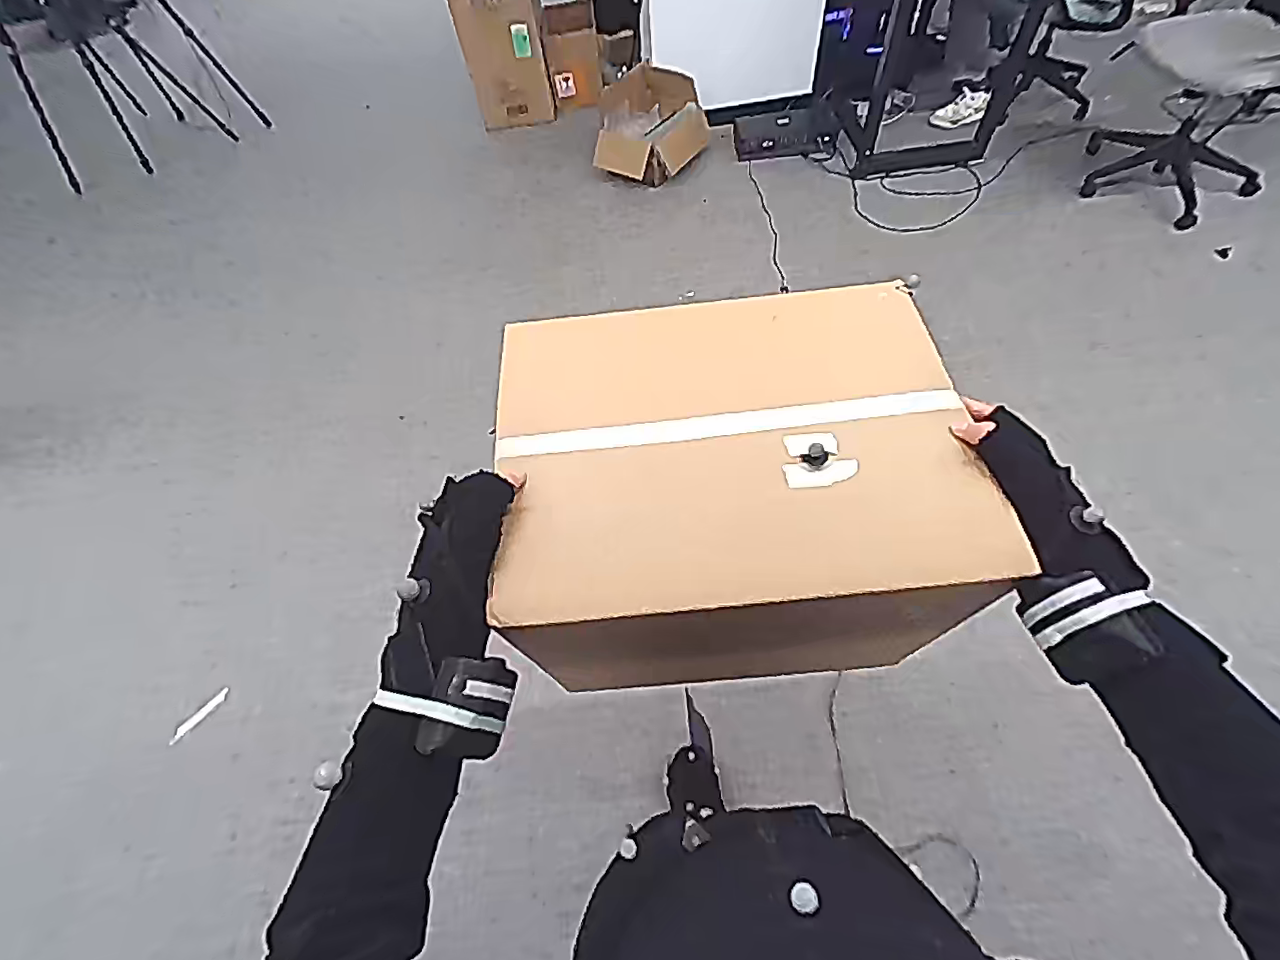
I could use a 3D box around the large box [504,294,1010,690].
[{"bbox_3d":[0.085,0.034,0.619,0.408,0.320,0.320,-6,60,1],"label":"large box"}]
